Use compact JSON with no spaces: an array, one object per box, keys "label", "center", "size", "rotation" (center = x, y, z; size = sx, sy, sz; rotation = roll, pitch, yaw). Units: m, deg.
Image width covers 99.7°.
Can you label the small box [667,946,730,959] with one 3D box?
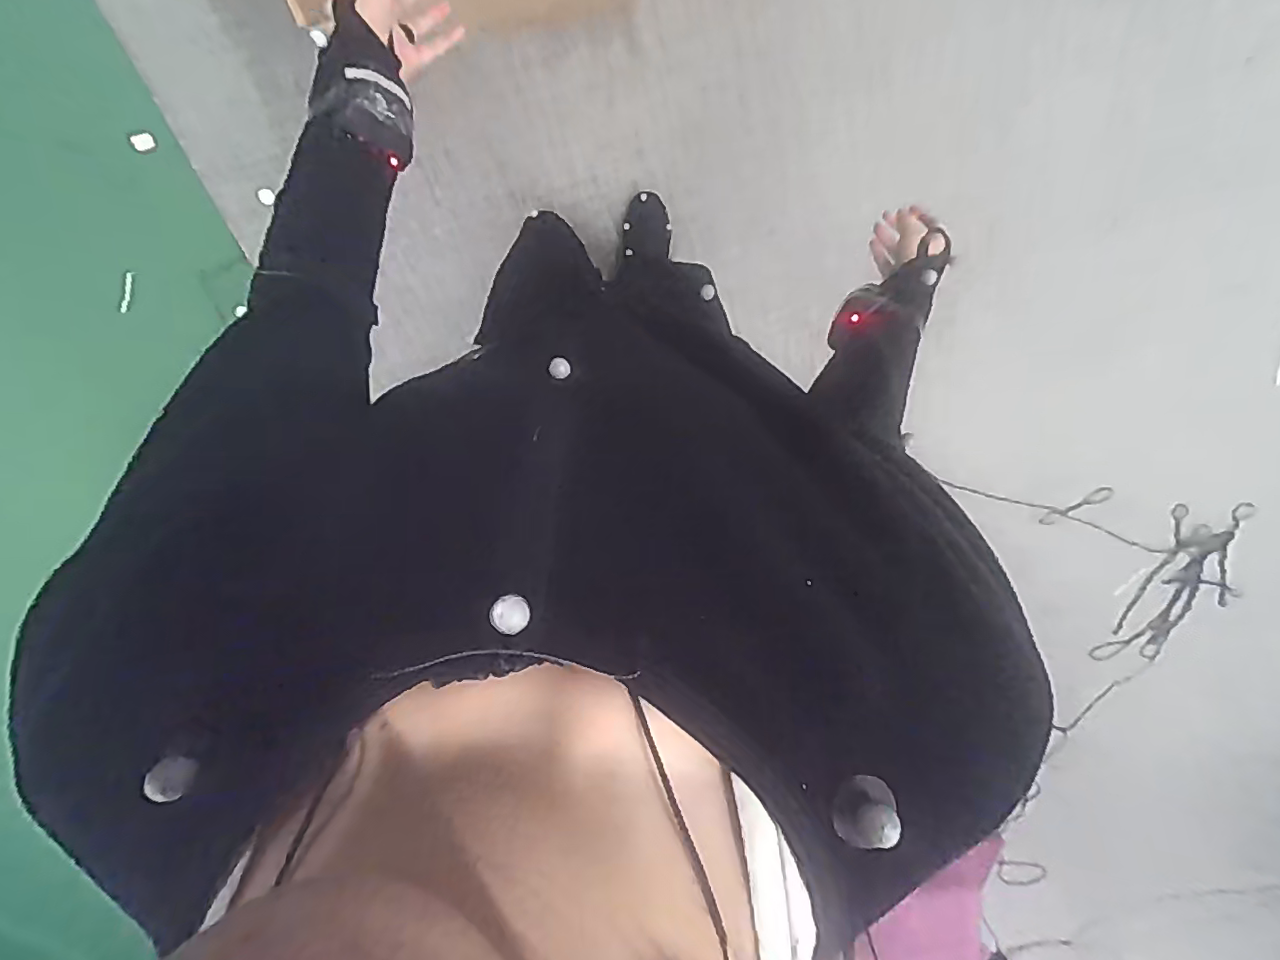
[{"label":"small box","center":[0.178,1.408,1.461],"size":[0.168,0.176,0.179],"rotation":[-18,116,8]}]
